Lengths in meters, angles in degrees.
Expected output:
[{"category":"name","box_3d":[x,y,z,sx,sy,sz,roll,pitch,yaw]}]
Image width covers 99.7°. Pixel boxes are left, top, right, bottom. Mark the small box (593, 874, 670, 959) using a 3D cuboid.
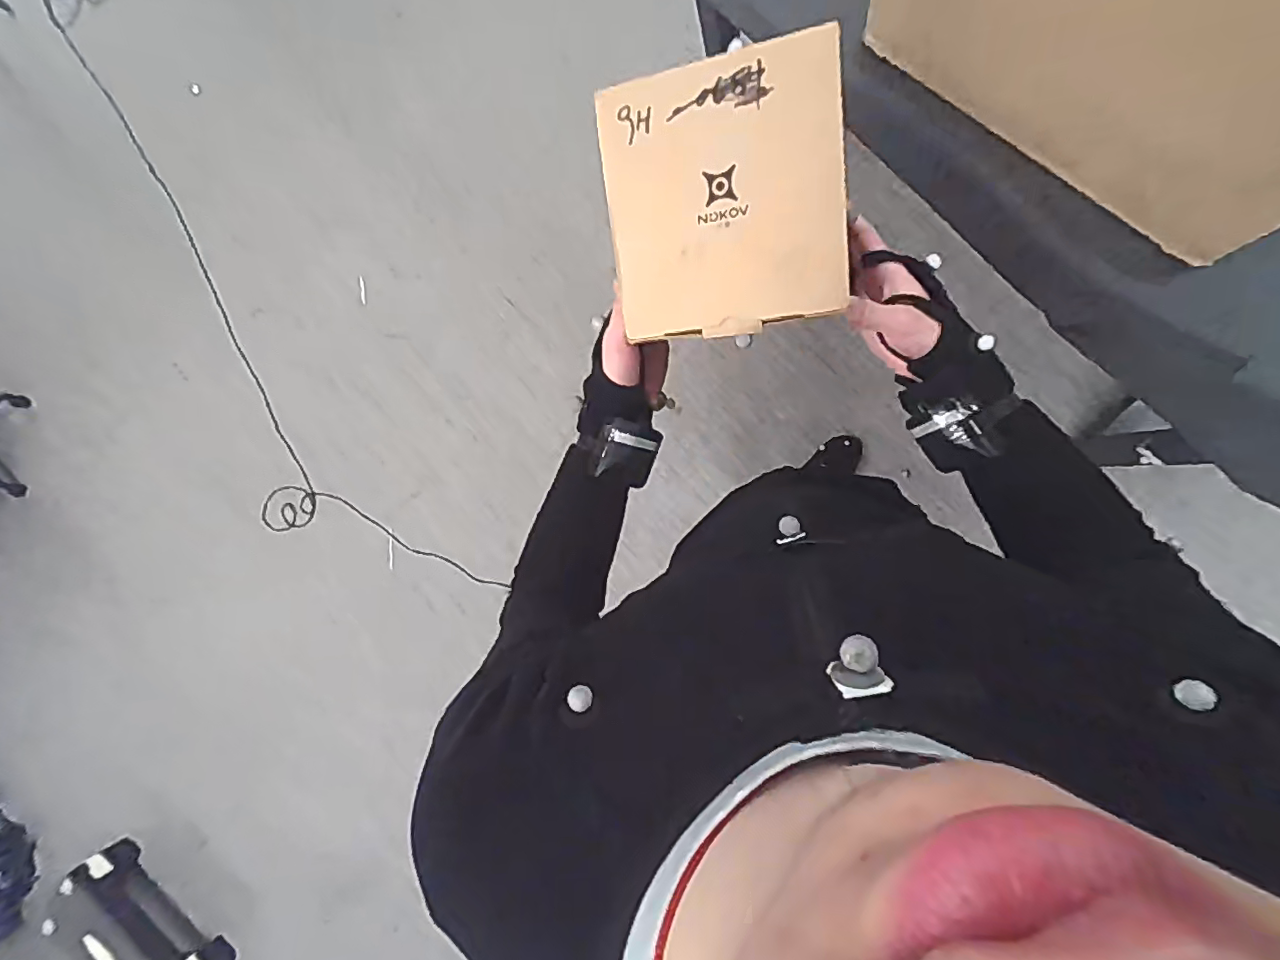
[{"category":"small box","box_3d":[-0.029,1.316,1.580,0.168,0.176,0.179,33,101,13]}]
